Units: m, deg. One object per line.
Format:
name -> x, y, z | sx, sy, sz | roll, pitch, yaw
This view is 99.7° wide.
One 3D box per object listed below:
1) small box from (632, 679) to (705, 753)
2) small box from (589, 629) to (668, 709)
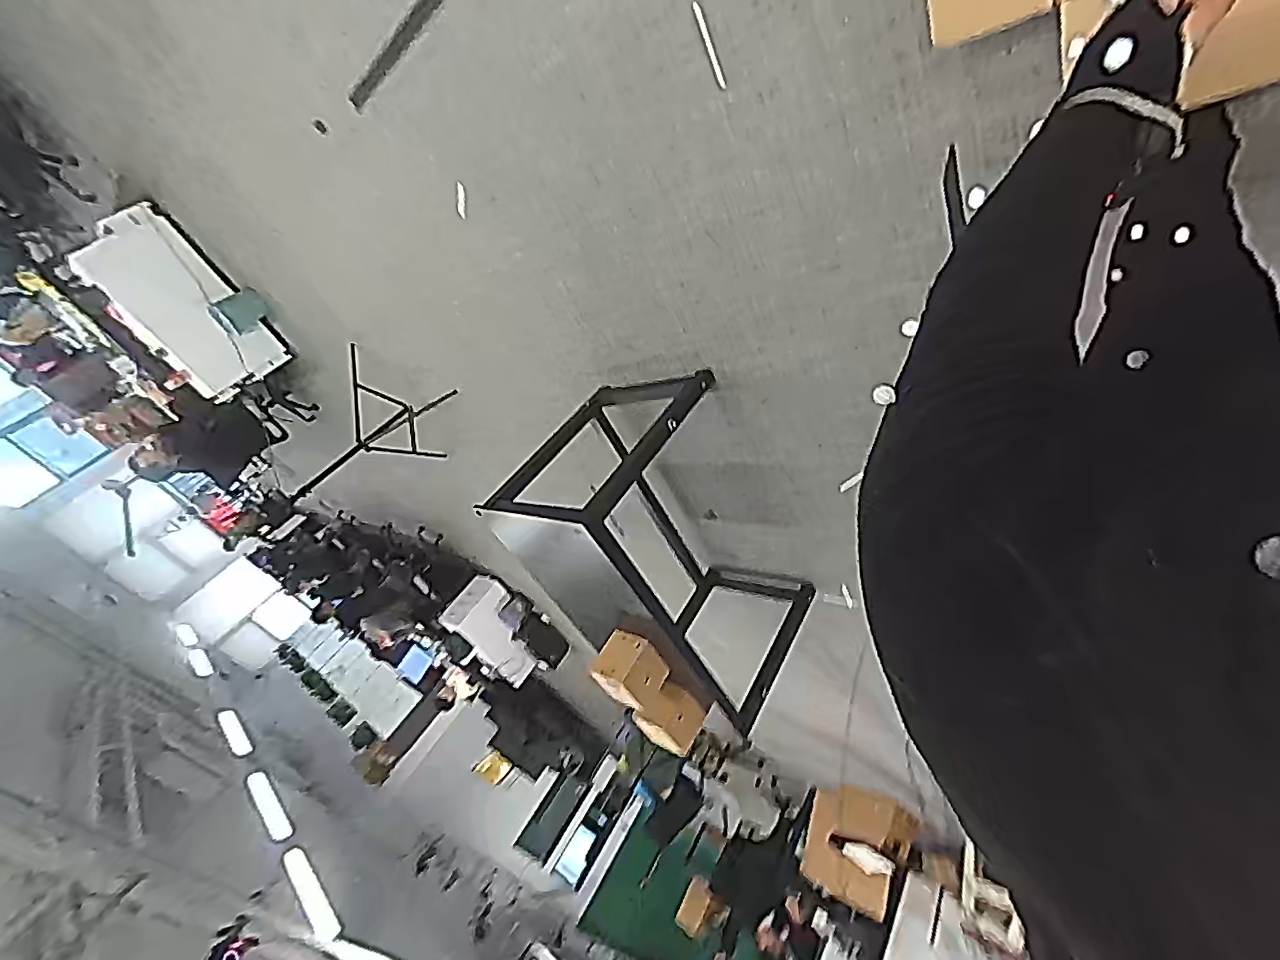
small box -> 0.109, 0.858, 1.991 | 0.168, 0.176, 0.179 | 1, 134, 48
small box -> -0.034, 0.640, 1.852 | 0.168, 0.176, 0.179 | 4, 136, 45
